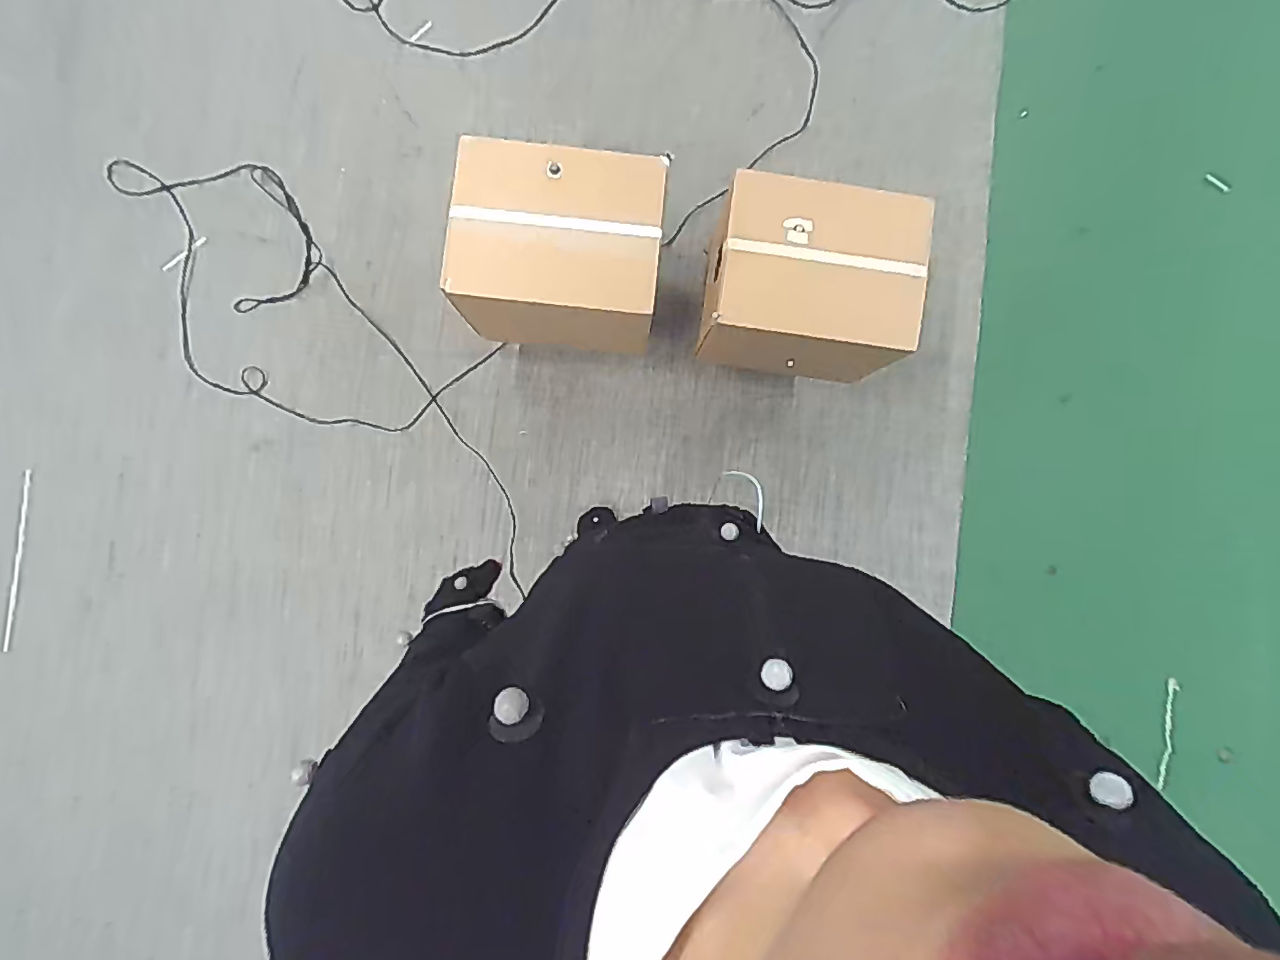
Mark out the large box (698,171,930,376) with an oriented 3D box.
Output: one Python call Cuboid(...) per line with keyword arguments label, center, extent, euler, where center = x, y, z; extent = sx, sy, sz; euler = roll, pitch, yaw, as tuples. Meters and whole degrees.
Cuboid(label="large box", center=(0.364, -0.436, 1.220), extent=(0.408, 0.320, 0.320), euler=(8, 88, -1))
